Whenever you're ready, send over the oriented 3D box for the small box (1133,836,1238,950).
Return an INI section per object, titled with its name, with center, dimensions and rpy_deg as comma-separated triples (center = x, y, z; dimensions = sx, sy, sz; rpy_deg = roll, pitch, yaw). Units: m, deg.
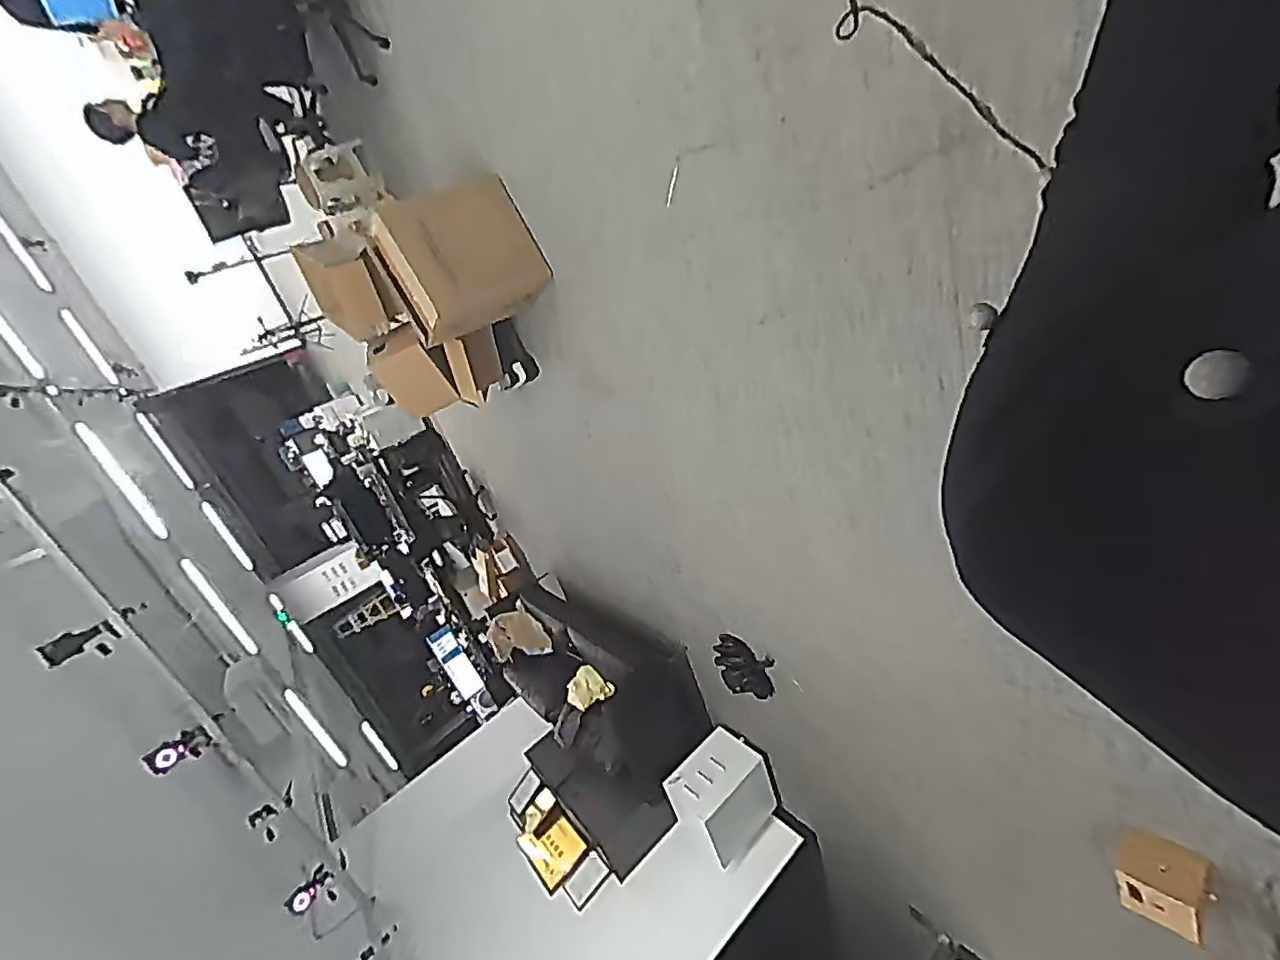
[small box]
center = 1.606, 1.200, 1.592
dimensions = 0.179, 0.176, 0.168
rpy_deg = -1, 118, 59
